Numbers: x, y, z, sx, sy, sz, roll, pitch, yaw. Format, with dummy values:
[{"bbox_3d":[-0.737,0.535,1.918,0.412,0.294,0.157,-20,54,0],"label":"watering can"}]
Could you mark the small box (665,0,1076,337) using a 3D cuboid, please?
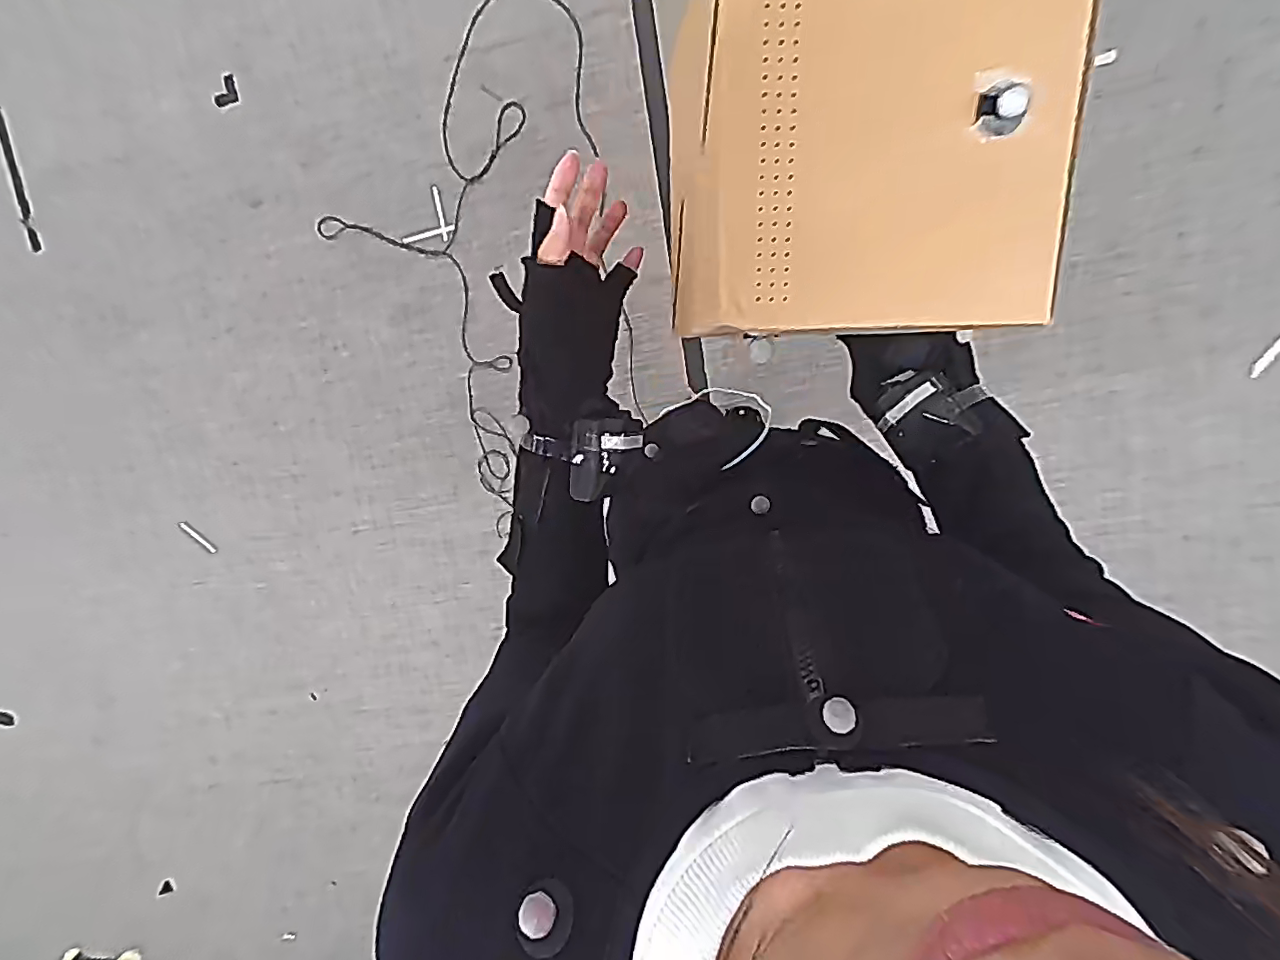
[{"bbox_3d":[0.108,-0.182,0.326,0.176,0.168,0.179,-2,103,-3],"label":"small box"}]
